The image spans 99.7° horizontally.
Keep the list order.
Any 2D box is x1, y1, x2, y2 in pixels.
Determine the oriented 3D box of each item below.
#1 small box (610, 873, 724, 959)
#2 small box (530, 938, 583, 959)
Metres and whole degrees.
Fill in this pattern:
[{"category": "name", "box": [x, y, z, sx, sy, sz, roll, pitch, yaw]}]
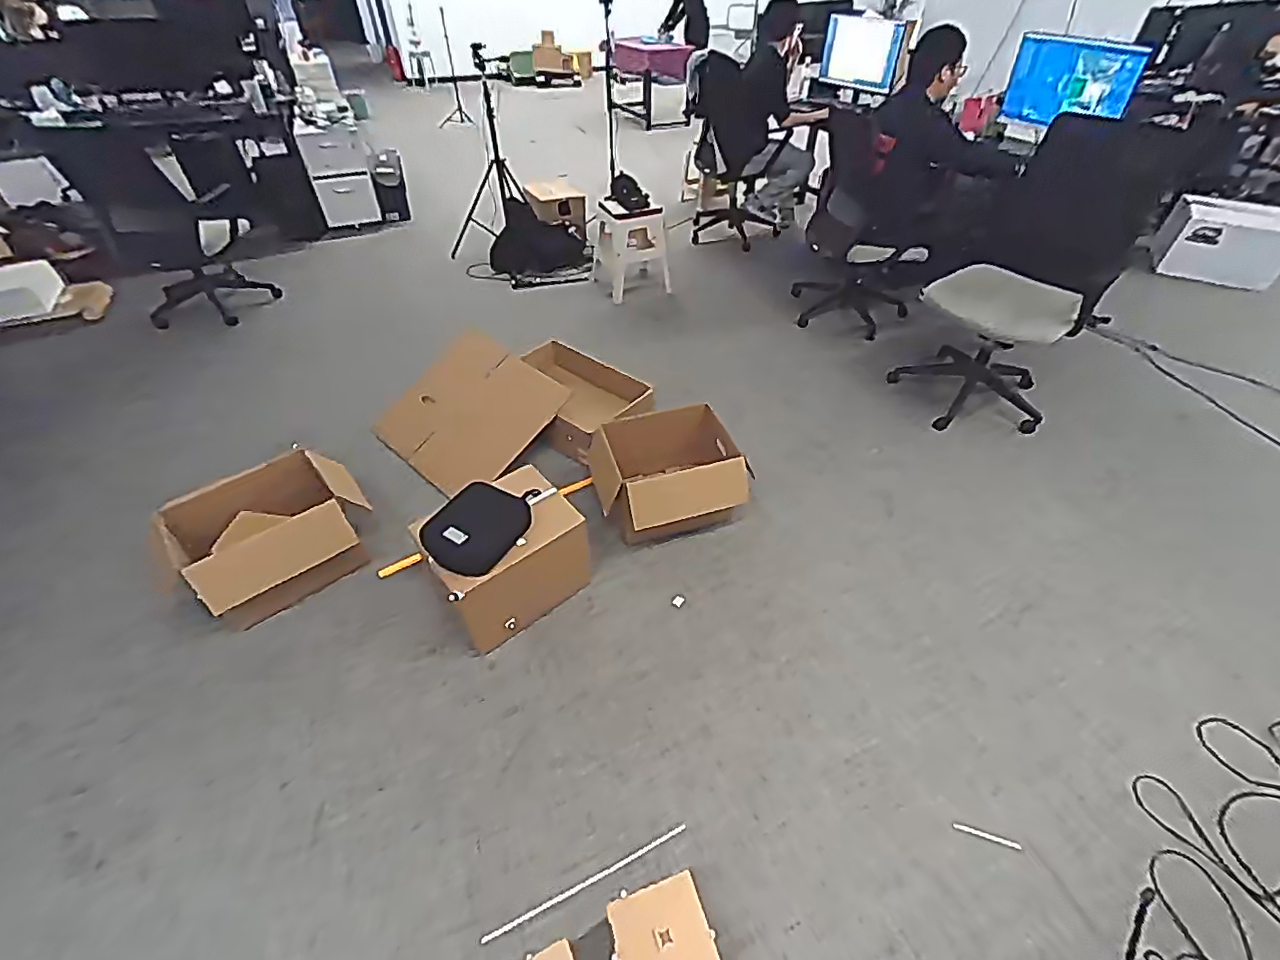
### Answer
[{"category": "small box", "box": [0.050, 0.900, 1.047, 0.179, 0.176, 0.168, -16, 46, -13]}, {"category": "small box", "box": [-0.171, 0.976, 0.972, 0.179, 0.176, 0.168, -18, 47, -18]}]
